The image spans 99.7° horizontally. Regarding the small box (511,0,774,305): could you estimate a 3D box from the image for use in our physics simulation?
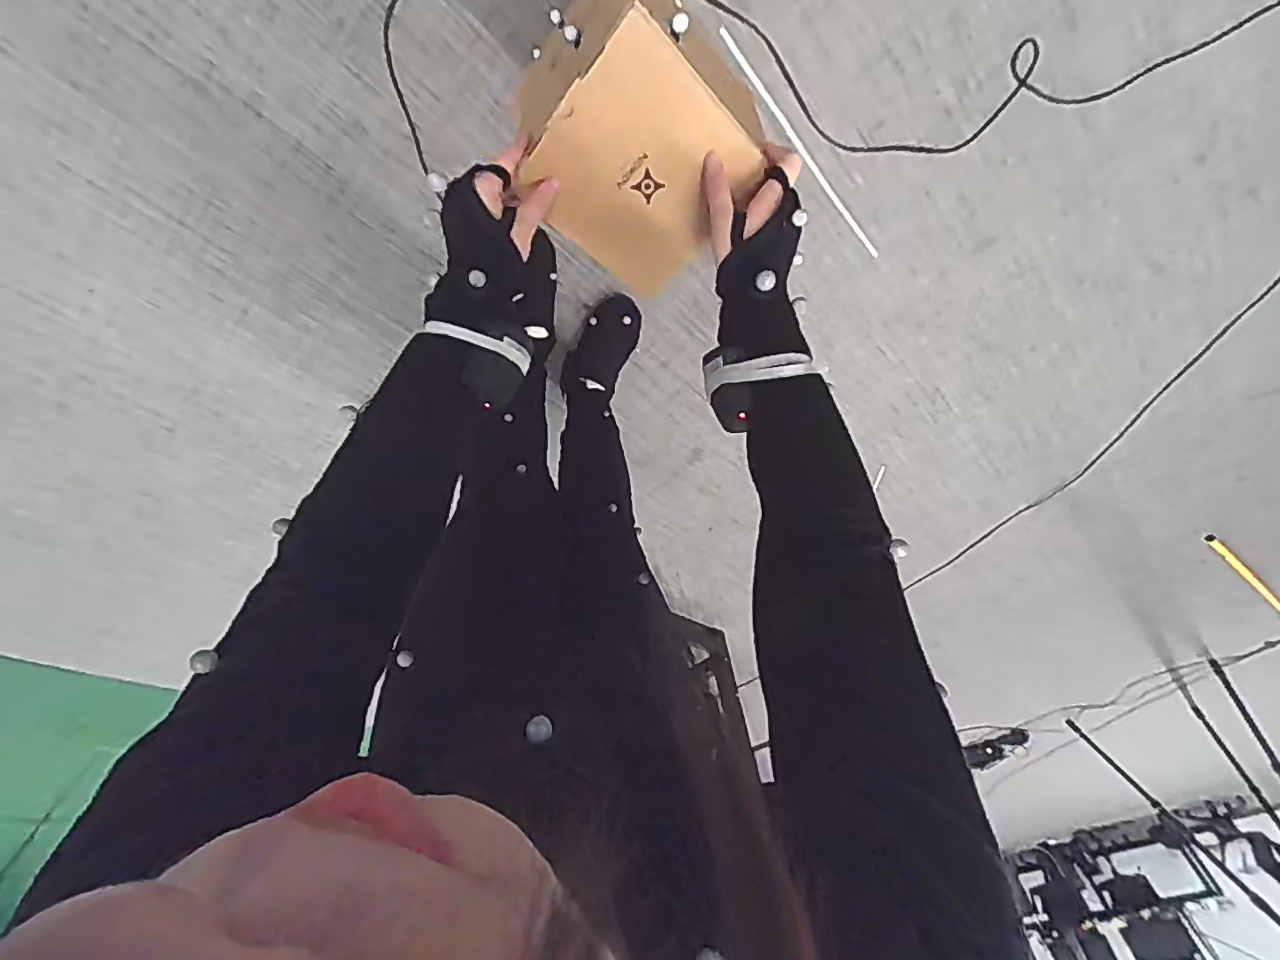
[{"bbox_3d":[0.004,-0.317,0.524,0.179,0.176,0.168,29,134,-31],"label":"small box"}]

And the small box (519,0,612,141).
[{"bbox_3d":[-0.022,-0.447,0.639,0.168,0.176,0.179,29,124,-31],"label":"small box"}]
